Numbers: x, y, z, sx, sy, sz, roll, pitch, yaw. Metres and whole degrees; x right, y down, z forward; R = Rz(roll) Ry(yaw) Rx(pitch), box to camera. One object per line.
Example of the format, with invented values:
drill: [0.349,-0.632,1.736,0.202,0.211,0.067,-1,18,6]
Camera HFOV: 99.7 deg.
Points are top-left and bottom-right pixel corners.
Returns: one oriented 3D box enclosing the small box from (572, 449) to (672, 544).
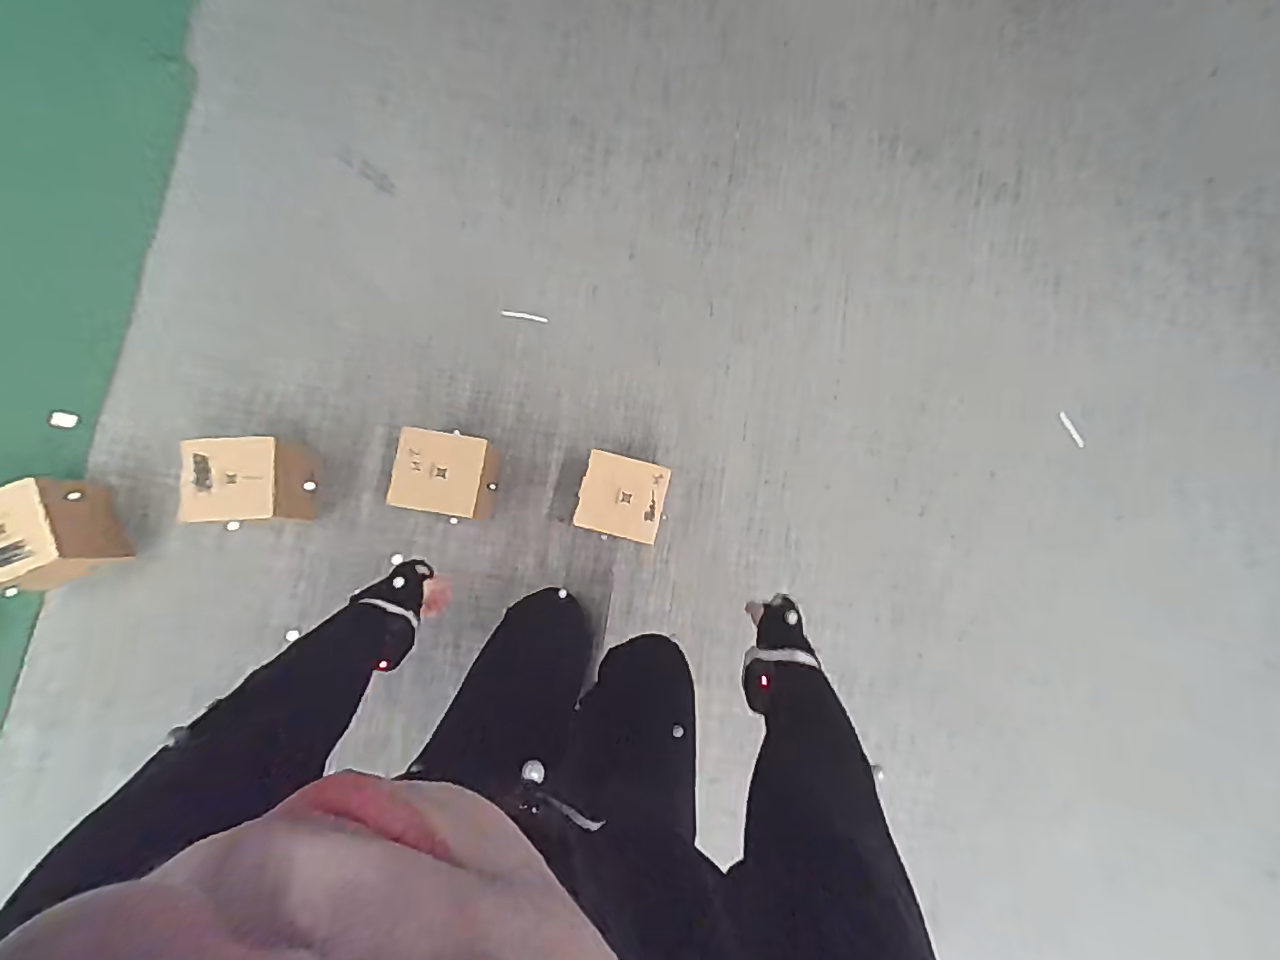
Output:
small box: [-0.041,0.044,1.196,0.179,0.176,0.168,15,82,-2]

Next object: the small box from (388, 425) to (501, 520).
small box: [-0.411,-0.008,1.172,0.179,0.176,0.168,10,81,-3]

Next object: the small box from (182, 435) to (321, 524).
small box: [-0.808,0.004,1.139,0.179,0.176,0.168,-2,83,-6]
